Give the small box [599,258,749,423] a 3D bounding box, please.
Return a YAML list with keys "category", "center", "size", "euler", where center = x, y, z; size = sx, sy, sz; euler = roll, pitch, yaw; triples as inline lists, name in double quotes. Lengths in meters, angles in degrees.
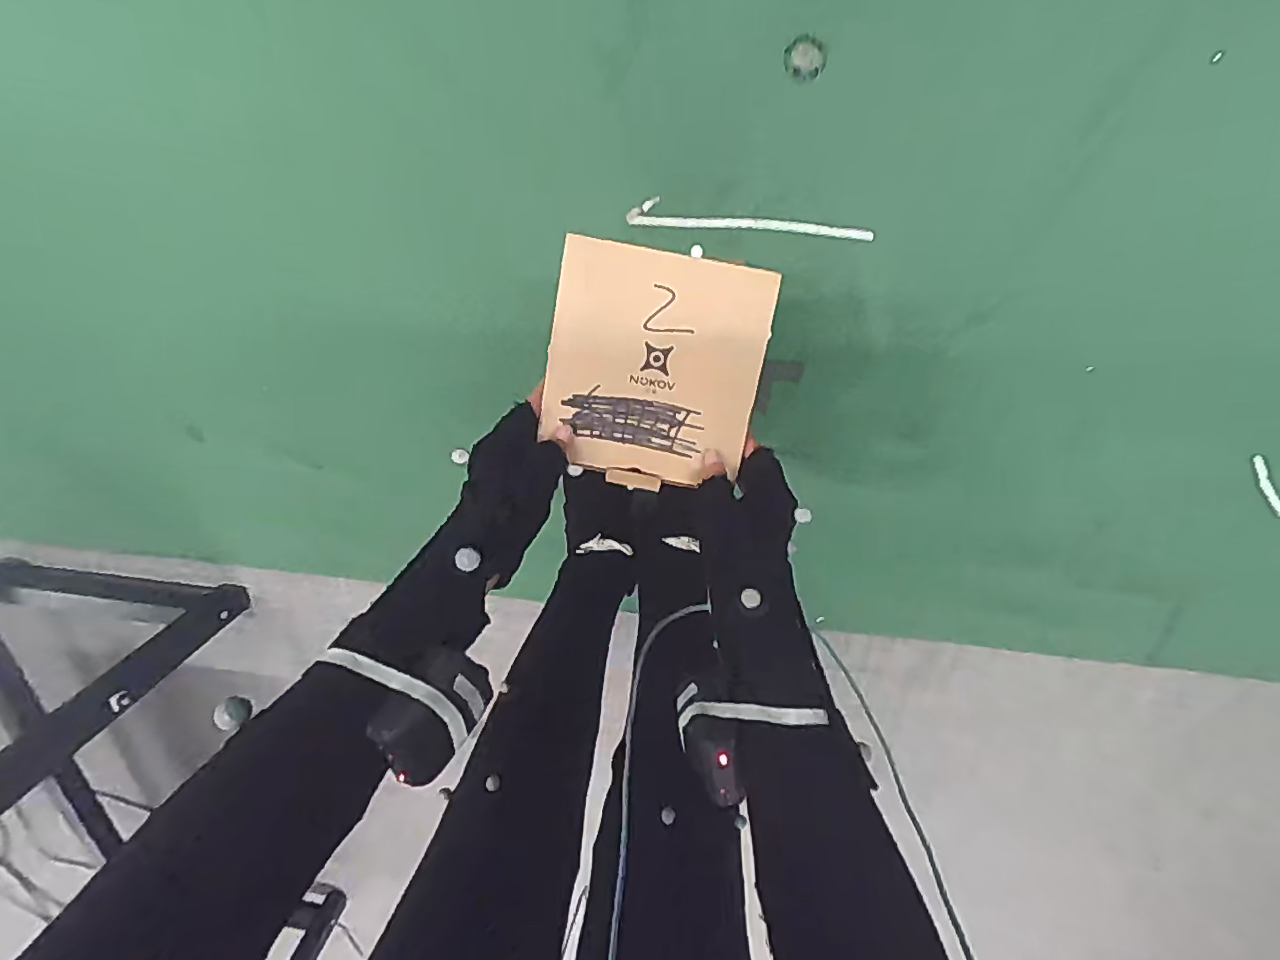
- category: "small box"
  center: [0.044, -0.189, 0.703]
  size: [0.168, 0.176, 0.179]
  euler: [6, 116, 6]
